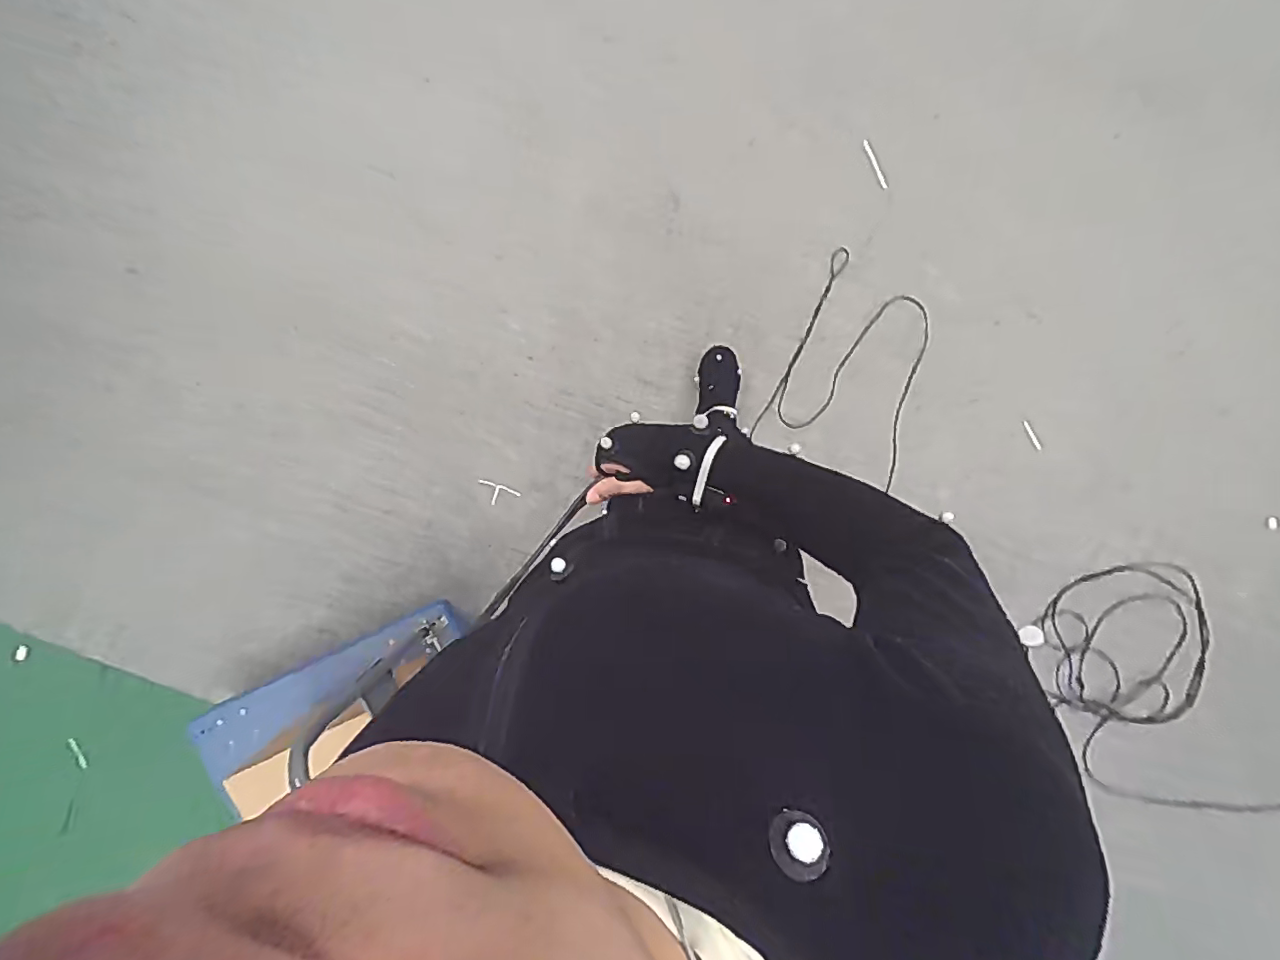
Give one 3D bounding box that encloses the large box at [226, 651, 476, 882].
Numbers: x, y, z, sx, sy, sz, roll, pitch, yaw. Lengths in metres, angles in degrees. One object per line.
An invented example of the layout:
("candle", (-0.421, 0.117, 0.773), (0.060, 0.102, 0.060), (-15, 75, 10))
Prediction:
("large box", (-0.710, 0.710, 1.390), (0.408, 0.320, 0.320), (-26, 95, 6))
